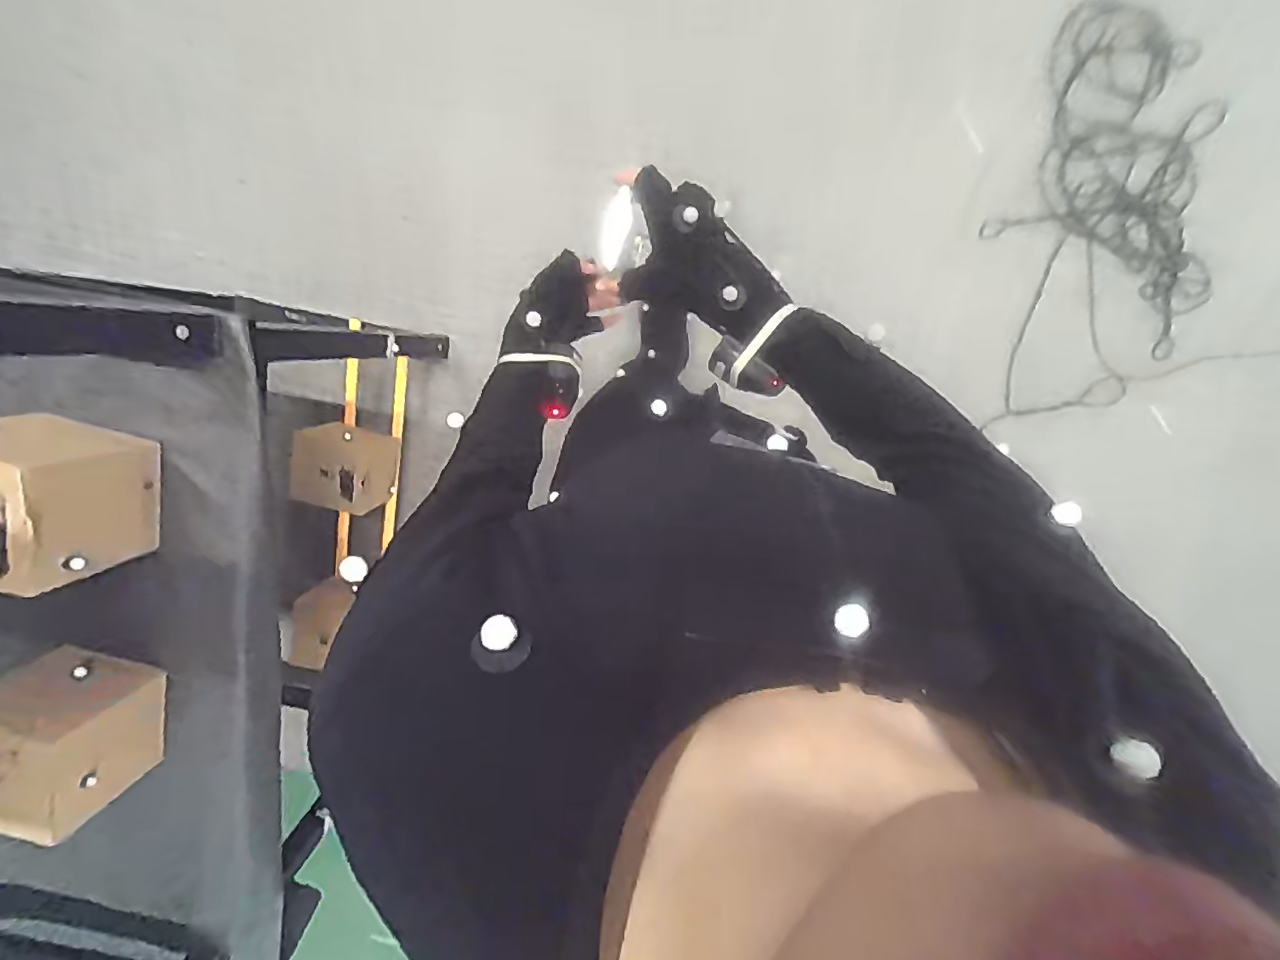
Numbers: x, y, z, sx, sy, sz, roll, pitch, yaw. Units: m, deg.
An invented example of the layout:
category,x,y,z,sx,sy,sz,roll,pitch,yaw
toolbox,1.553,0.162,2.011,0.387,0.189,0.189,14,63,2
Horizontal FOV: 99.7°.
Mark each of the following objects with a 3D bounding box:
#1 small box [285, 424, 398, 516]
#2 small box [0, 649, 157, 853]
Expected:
category,x,y,z,sx,sy,sz,roll,pitch,yaw
small box,-0.716,-0.032,1.313,0.179,0.176,0.168,15,104,-1
small box,-0.849,0.378,0.778,0.168,0.176,0.179,15,104,-1
